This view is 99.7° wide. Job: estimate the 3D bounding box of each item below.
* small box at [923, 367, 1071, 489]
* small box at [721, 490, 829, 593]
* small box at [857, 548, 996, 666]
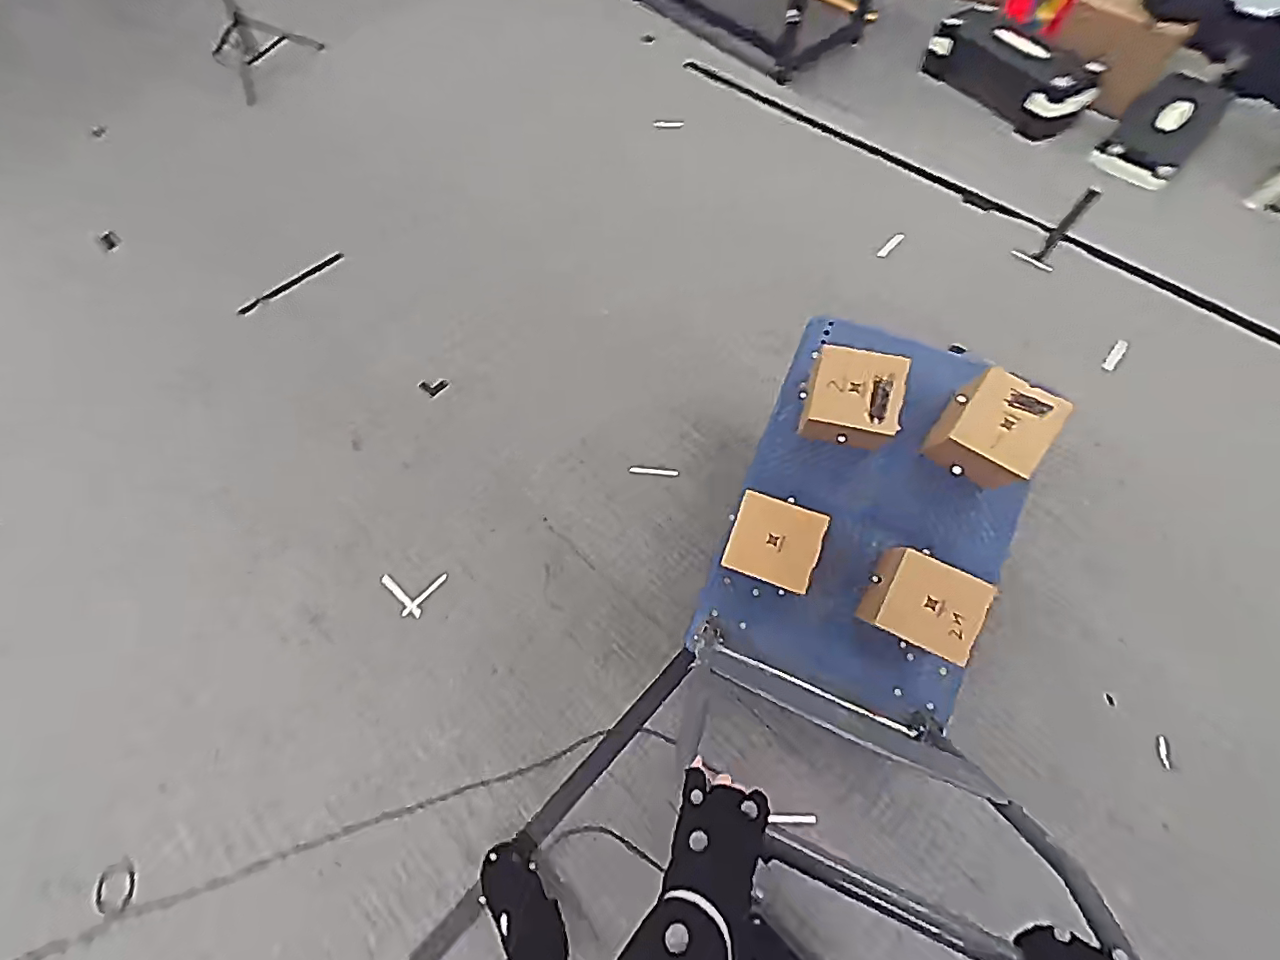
[{"bbox_3d":[0.731,-0.101,1.132,0.168,0.176,0.179,32,88,12],"label":"small box"},{"bbox_3d":[0.280,0.135,1.162,0.179,0.176,0.168,19,84,9],"label":"small box"},{"bbox_3d":[0.569,0.252,1.101,0.179,0.176,0.168,25,86,11],"label":"small box"}]
